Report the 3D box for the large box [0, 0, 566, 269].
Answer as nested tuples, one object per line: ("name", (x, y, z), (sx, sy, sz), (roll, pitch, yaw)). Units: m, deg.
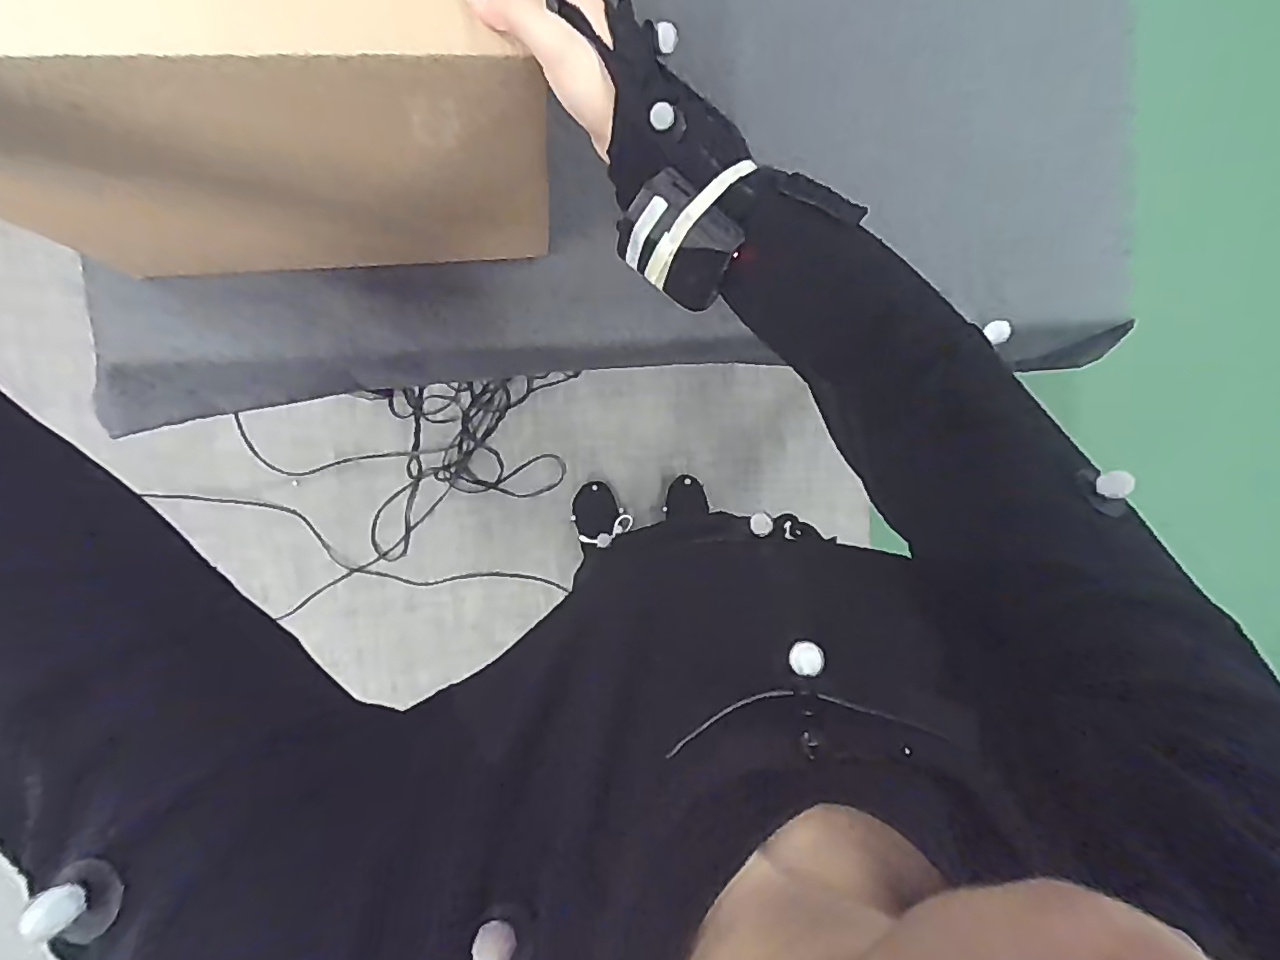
("large box", (-0.281, -0.370, 0.394), (0.408, 0.320, 0.320), (-8, 96, -11))
